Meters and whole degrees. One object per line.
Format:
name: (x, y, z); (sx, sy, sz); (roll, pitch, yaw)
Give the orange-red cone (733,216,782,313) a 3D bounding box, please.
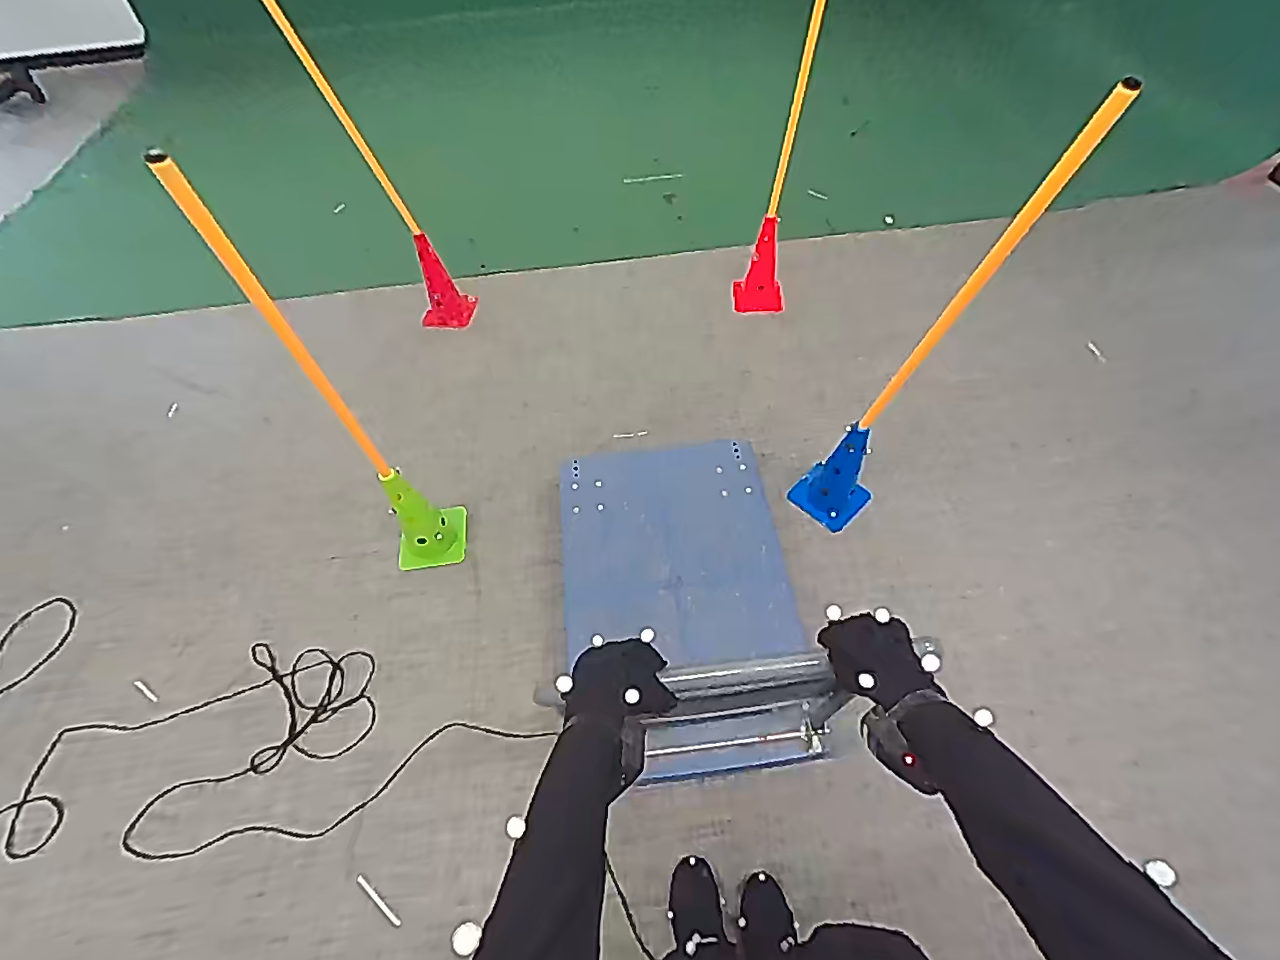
orange-red cone: (0.479, -0.854, 2.111); (0.198, 0.360, 0.199); (2, 57, 5)
